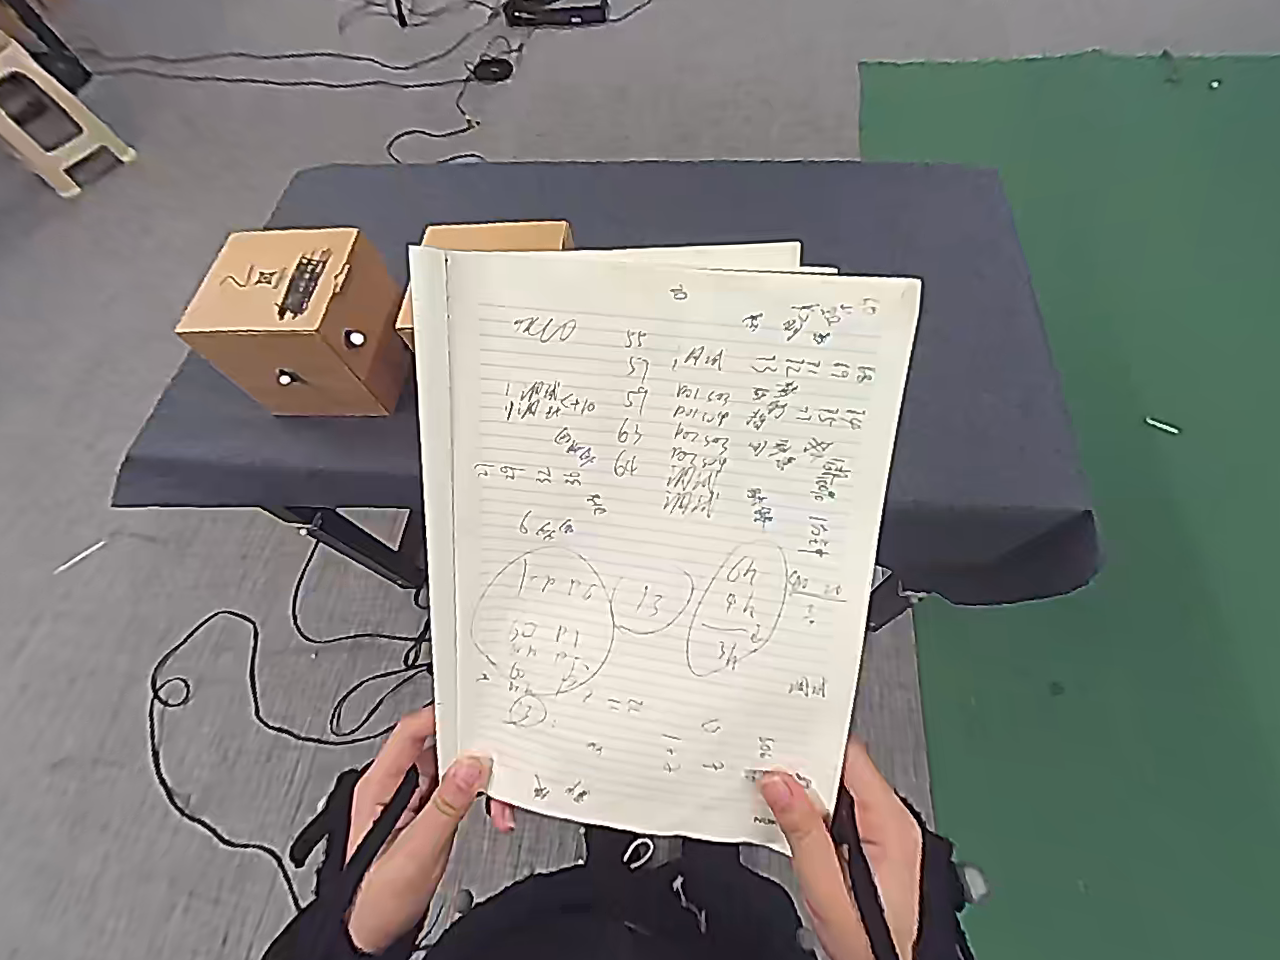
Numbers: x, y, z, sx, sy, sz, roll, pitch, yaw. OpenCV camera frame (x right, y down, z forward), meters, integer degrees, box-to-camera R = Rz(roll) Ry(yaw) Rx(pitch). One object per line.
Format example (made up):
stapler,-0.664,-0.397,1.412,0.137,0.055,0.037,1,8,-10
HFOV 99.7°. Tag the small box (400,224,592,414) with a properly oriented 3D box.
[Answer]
small box,-0.166,-0.196,0.686,0.179,0.176,0.168,0,63,5
